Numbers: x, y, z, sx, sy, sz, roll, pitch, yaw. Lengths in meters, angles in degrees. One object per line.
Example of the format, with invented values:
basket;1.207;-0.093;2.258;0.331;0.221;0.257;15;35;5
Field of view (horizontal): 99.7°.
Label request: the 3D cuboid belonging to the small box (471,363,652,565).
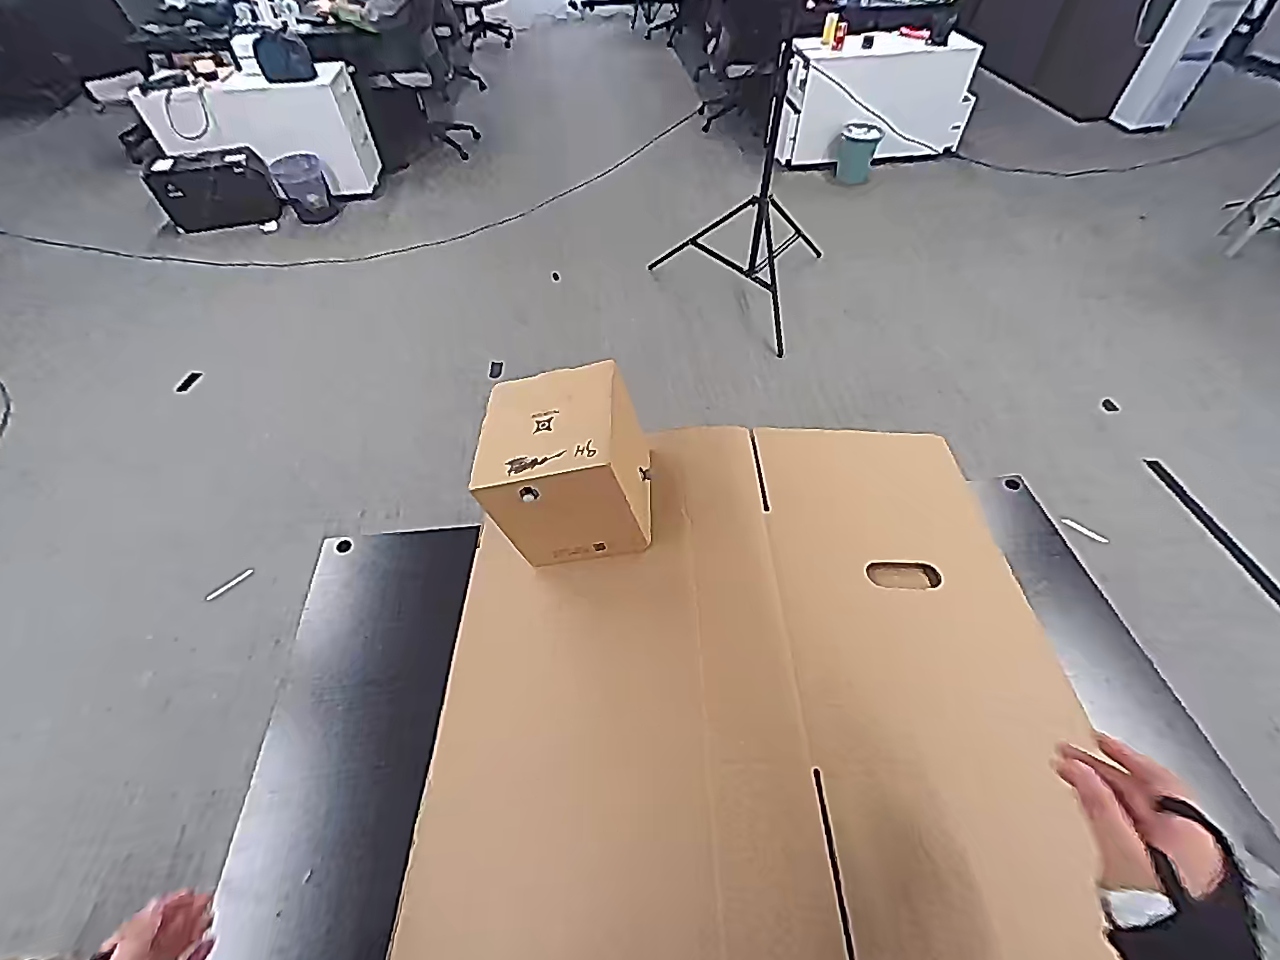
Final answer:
small box;-0.085;-0.017;0.686;0.168;0.176;0.179;-11;48;12
